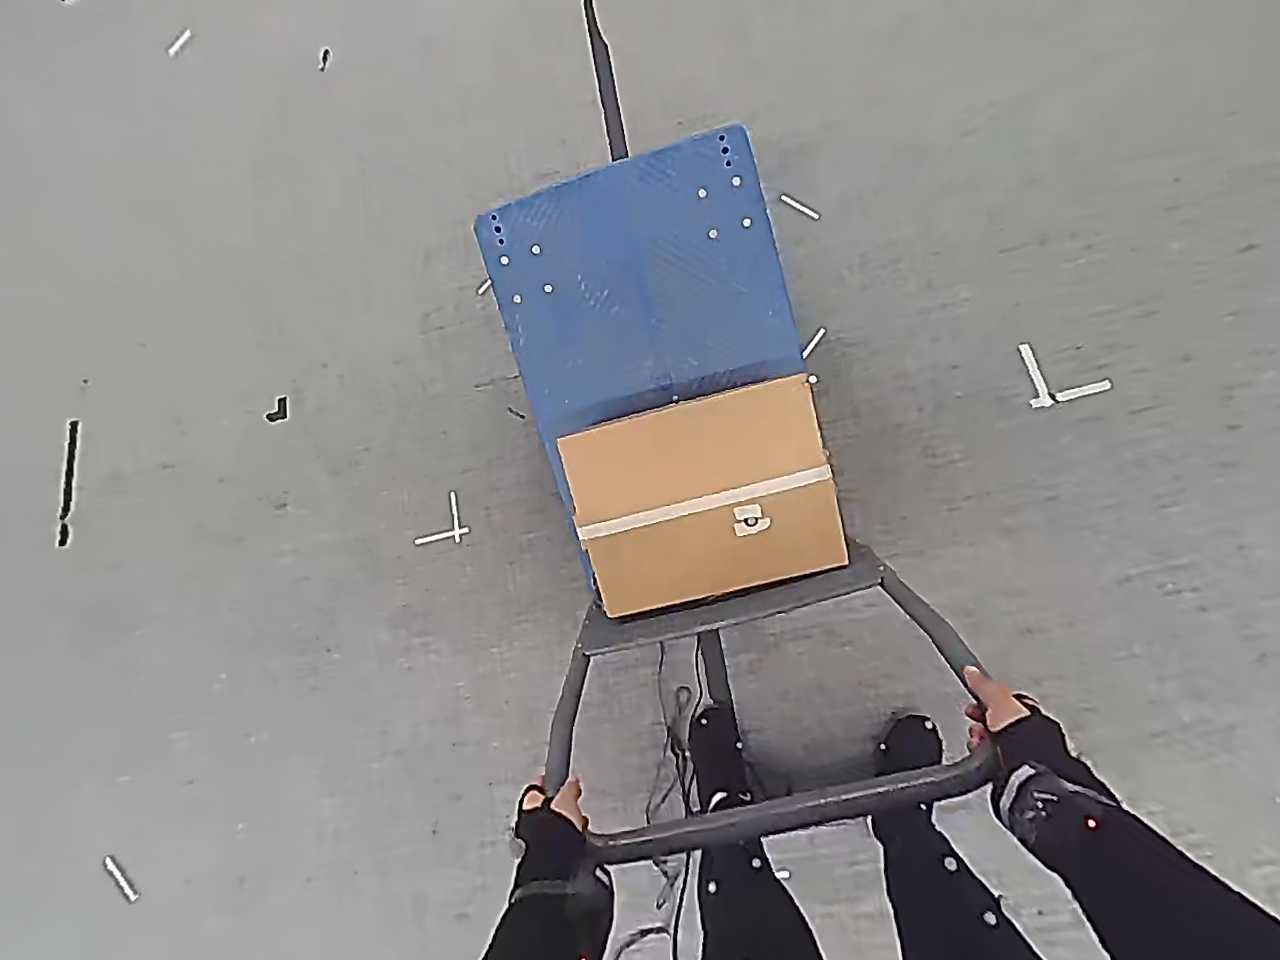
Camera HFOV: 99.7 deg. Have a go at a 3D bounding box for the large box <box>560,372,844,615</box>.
[{"bbox_3d":[0.107,0.009,1.019,0.408,0.320,0.320,-15,99,5],"label":"large box"}]
